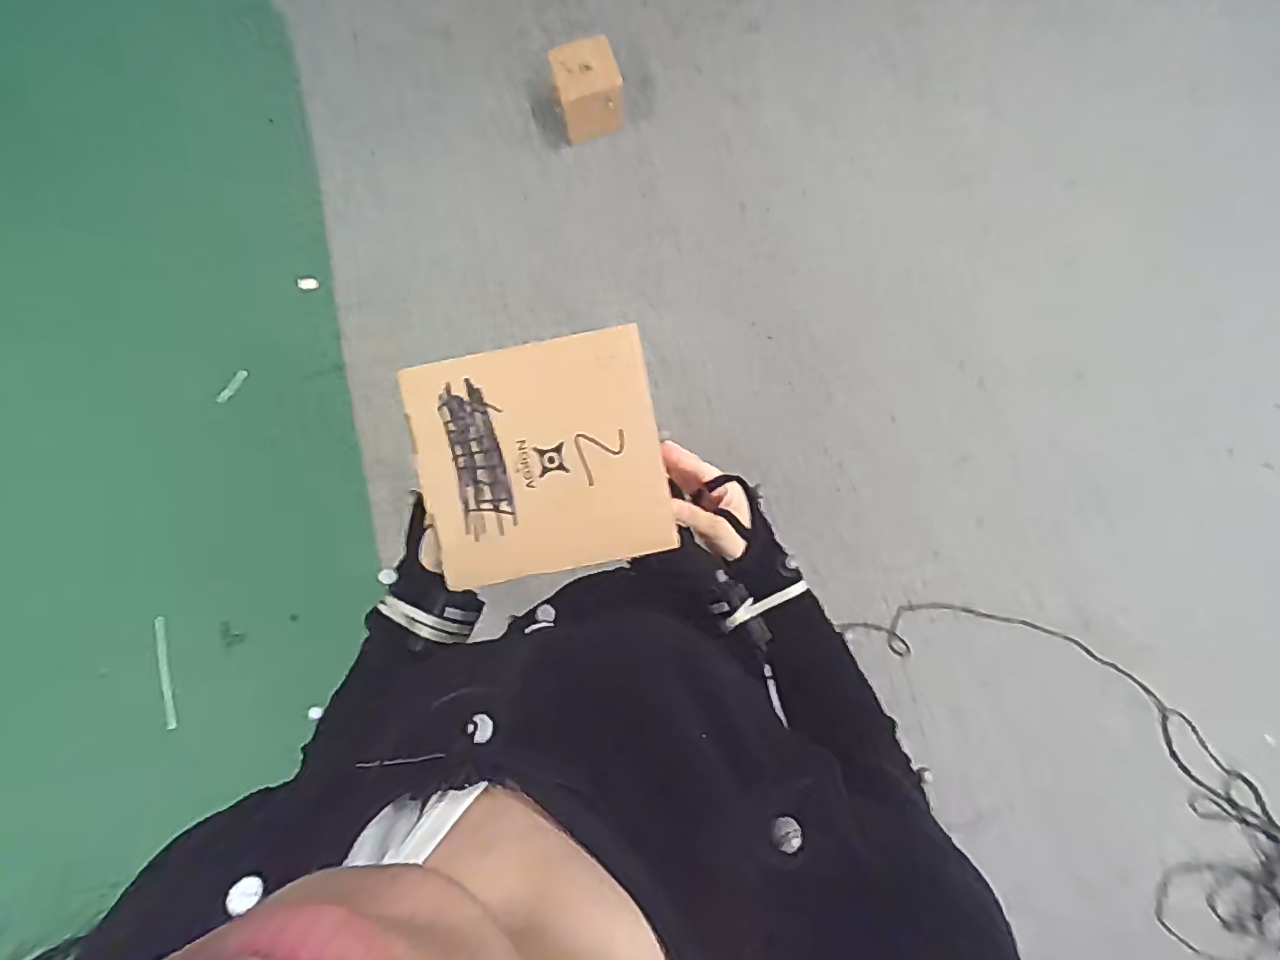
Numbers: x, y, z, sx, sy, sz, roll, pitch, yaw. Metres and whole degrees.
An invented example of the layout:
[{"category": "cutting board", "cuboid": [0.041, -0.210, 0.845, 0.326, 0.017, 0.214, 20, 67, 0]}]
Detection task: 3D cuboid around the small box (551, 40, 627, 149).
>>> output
[{"category": "small box", "cuboid": [-0.139, -1.099, 1.554, 0.179, 0.176, 0.168, -17, 84, 1]}]
